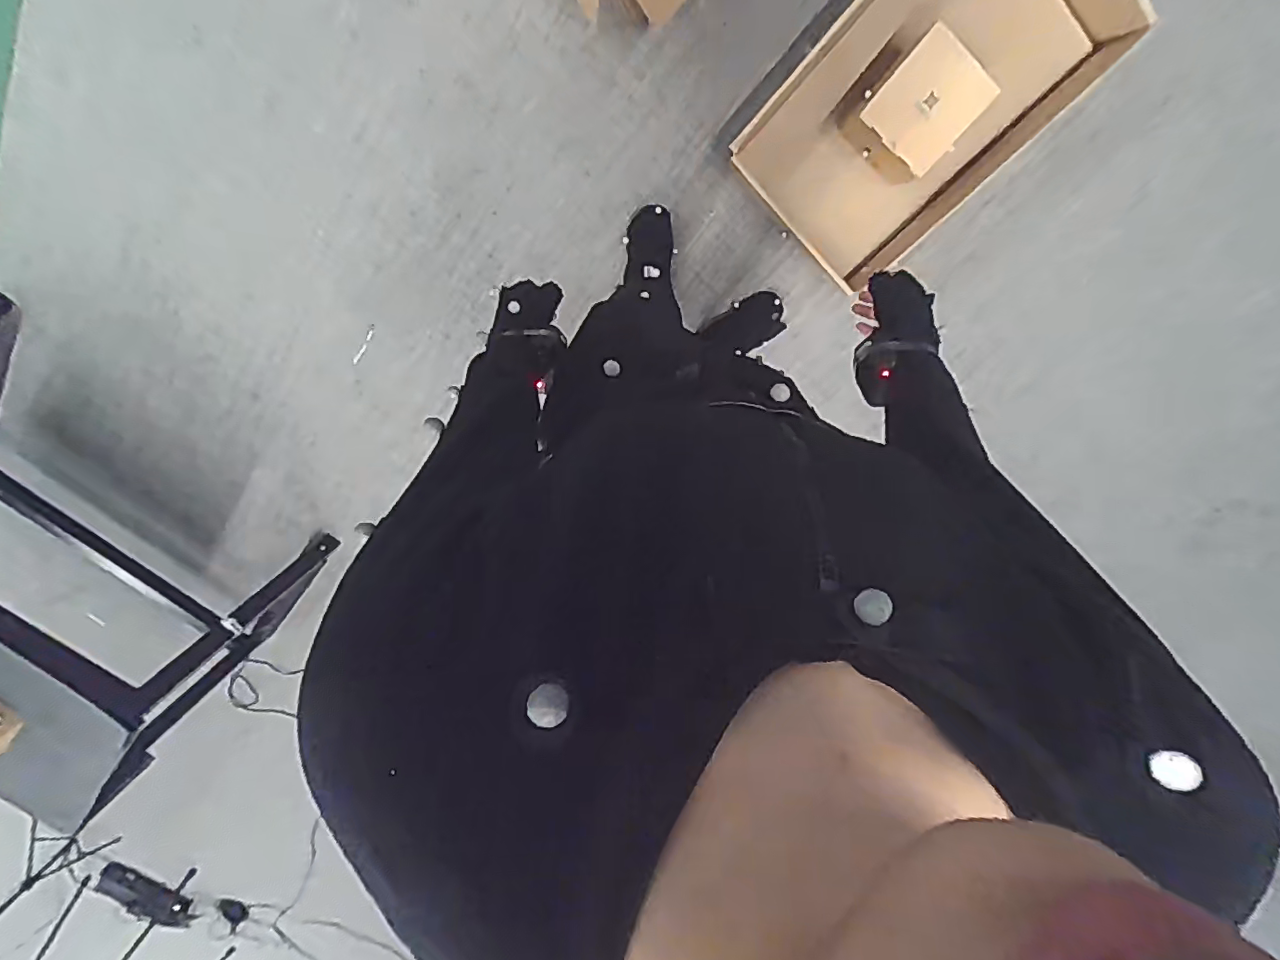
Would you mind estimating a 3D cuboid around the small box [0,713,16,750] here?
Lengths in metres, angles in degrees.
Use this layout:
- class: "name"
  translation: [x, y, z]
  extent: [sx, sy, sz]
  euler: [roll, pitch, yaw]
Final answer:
- class: "small box"
  translation: [-1.461, 0.547, 1.107]
  extent: [0.179, 0.176, 0.168]
  euler: [-39, 104, 22]

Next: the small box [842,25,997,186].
- class: "small box"
  translation: [0.517, -0.695, 1.030]
  extent: [0.168, 0.176, 0.179]
  euler: [38, 114, -11]
